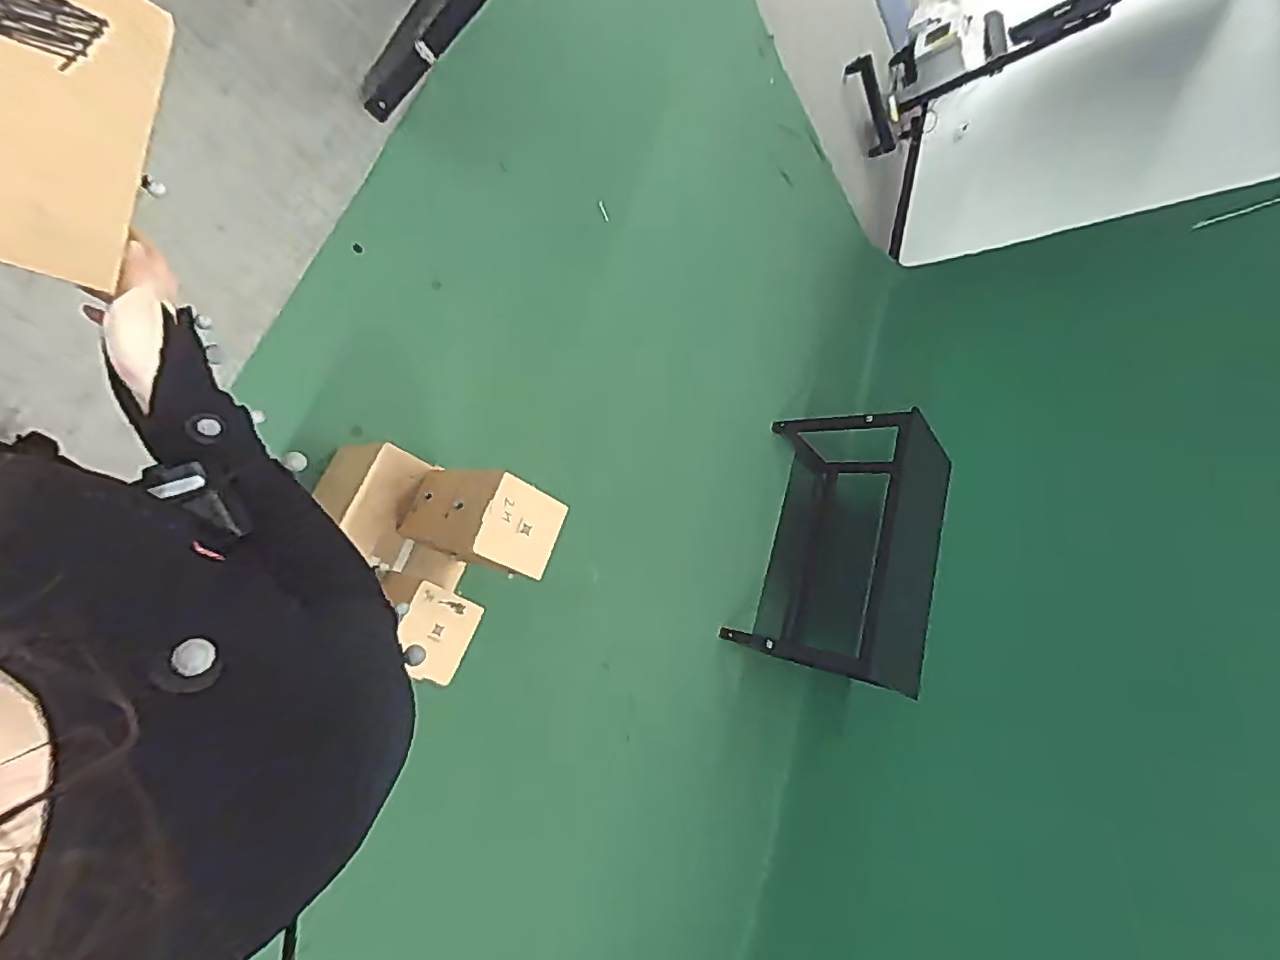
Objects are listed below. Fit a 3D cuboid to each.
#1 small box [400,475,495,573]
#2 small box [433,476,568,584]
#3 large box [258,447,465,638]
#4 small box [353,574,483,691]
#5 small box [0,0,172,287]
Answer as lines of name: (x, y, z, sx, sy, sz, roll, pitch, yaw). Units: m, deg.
small box: (-0.403, 0.094, 1.227, 0.179, 0.176, 0.168, 37, 66, -40)
small box: (-0.286, 0.097, 1.110, 0.179, 0.176, 0.168, 36, 66, -40)
large box: (-0.642, 0.163, 1.328, 0.320, 0.320, 0.408, 36, 66, -40)
small box: (-0.477, 0.318, 1.148, 0.168, 0.176, 0.179, 43, 61, -38)
small box: (-0.412, -0.237, 0.325, 0.168, 0.176, 0.179, 13, 98, -45)
